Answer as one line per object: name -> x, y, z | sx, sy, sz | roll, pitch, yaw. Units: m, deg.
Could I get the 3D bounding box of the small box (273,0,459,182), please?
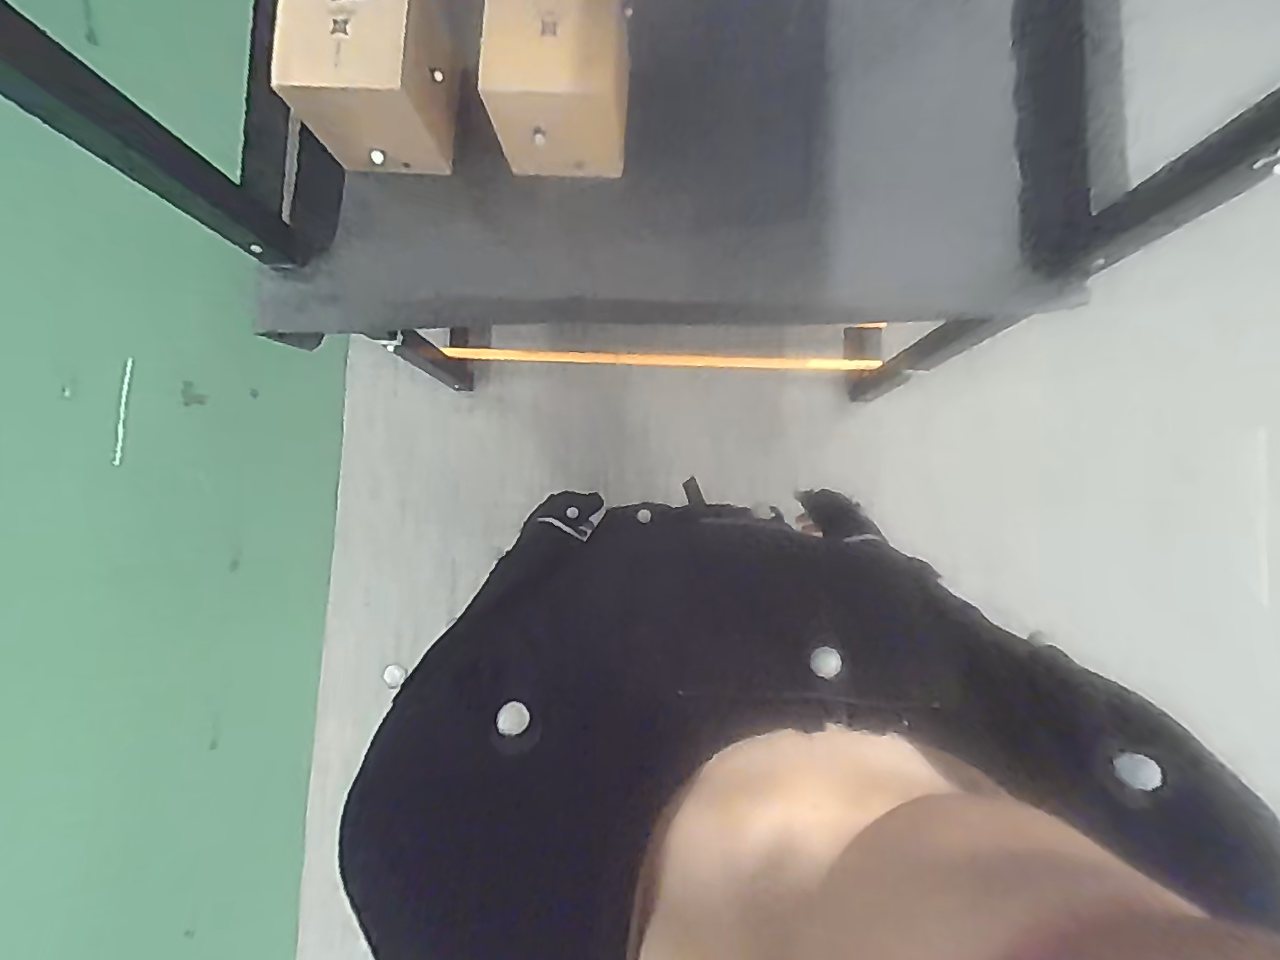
small box -> -0.362, -0.551, 0.748 | 0.168, 0.176, 0.179 | 3, 86, 2

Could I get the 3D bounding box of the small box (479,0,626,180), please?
small box -> -0.109, -0.541, 0.741 | 0.168, 0.176, 0.179 | 3, 85, 2
